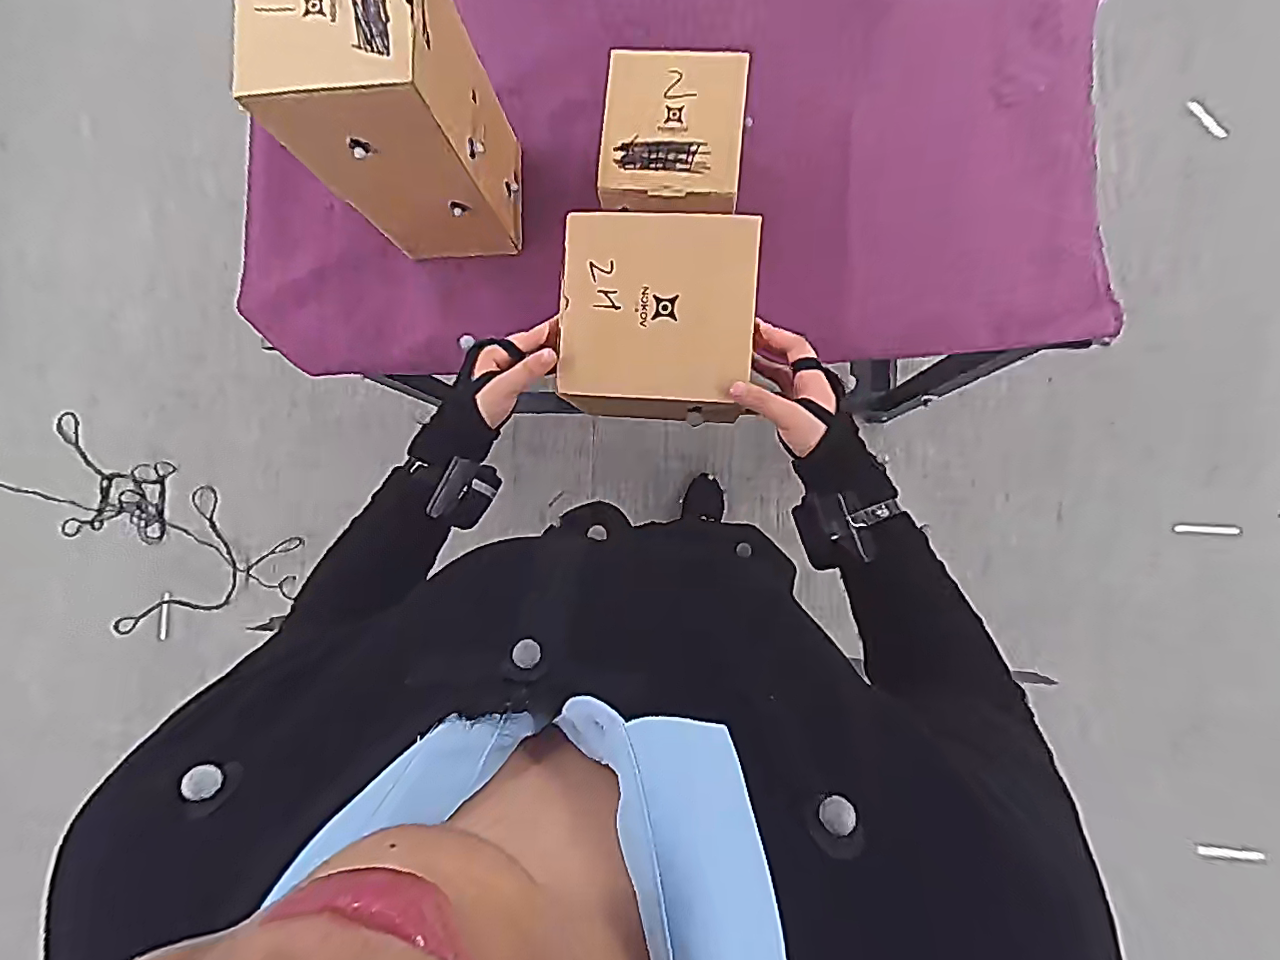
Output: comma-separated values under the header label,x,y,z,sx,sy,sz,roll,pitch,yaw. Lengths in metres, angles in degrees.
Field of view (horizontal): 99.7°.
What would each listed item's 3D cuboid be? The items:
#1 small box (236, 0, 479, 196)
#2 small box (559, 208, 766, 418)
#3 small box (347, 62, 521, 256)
label,x,y,z,sx,sy,sz,roll,pitch,yaw
small box,-0.282,-0.430,0.577,0.179,0.176,0.168,-1,86,4
small box,0.025,-0.157,0.559,0.179,0.176,0.168,4,90,6
small box,-0.273,-0.424,0.741,0.179,0.176,0.168,-1,86,3
